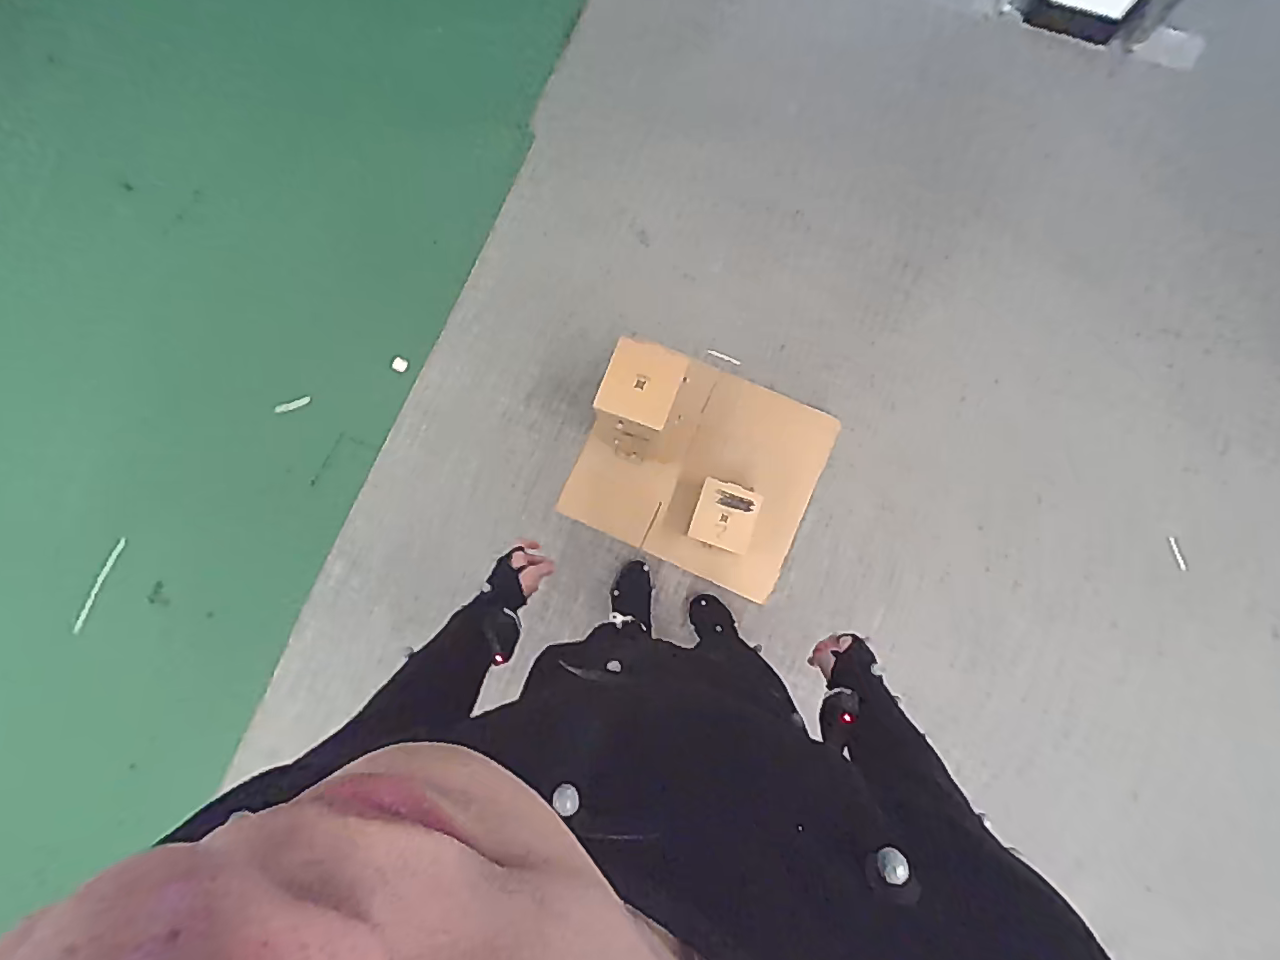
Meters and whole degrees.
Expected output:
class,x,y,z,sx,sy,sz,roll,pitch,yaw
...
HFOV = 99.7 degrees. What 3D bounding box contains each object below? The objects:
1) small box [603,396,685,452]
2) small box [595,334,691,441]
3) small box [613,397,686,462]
class,x,y,z,sx,sy,sz,roll,pitch,yaw
small box,0.018,-0.186,1.413,0.168,0.176,0.179,20,84,6
small box,0.013,-0.205,1.251,0.168,0.176,0.179,21,84,6
small box,0.029,-0.166,1.574,0.168,0.176,0.179,17,85,6
